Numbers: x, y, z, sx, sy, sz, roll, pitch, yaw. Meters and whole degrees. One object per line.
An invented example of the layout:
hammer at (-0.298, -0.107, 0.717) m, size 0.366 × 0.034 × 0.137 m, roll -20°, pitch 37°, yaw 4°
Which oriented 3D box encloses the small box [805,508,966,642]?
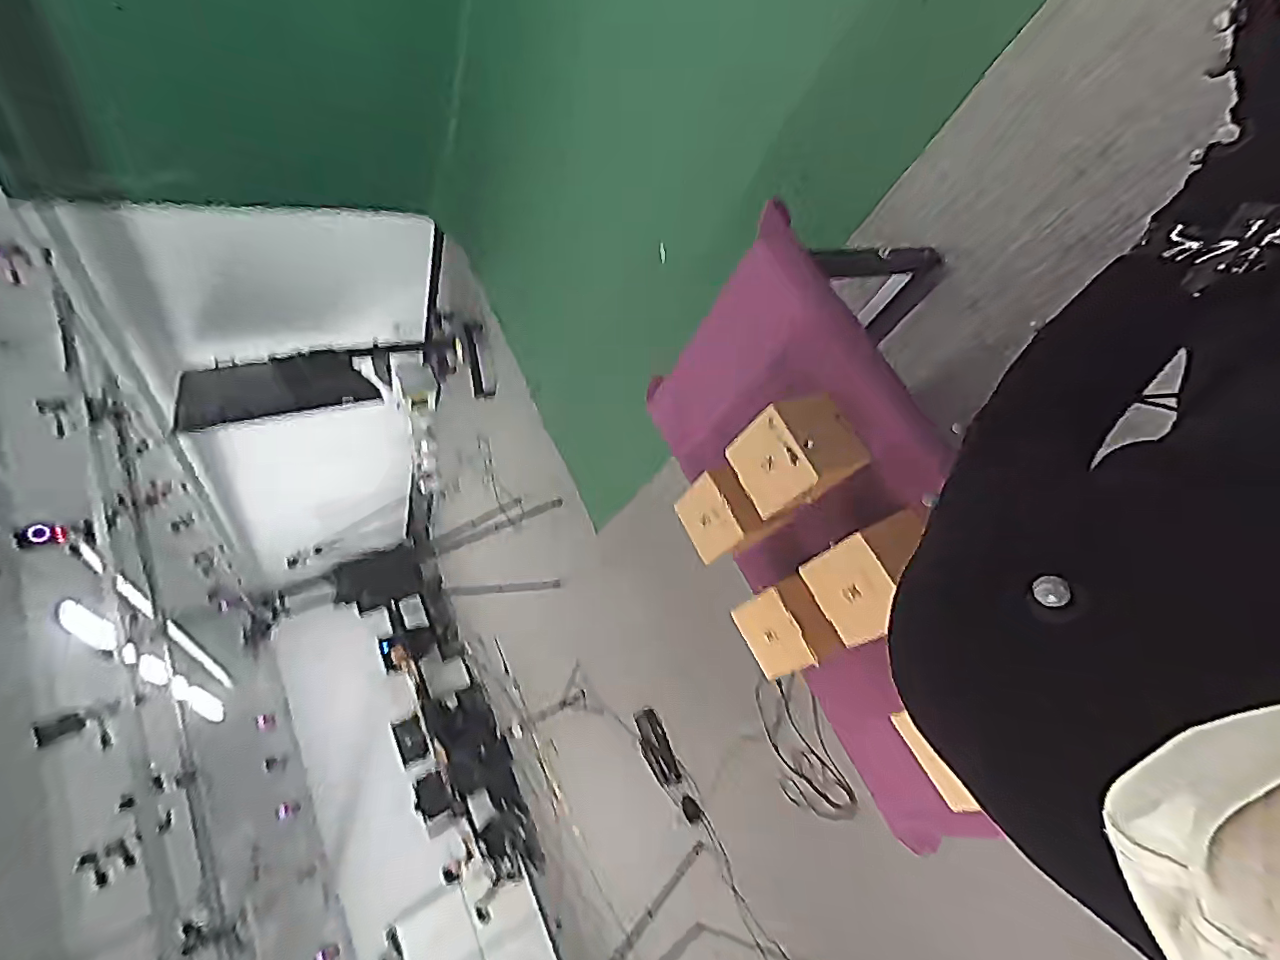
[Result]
small box at (0.454, 0.176, 1.007) m, size 0.168 × 0.176 × 0.179 m, roll 61°, pitch 145°, yaw 18°

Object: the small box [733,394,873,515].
small box at (0.328, -0.053, 1.097) m, size 0.168 × 0.176 × 0.179 m, roll 62°, pitch 147°, yaw 17°

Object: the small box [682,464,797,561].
small box at (0.236, 0.070, 1.292) m, size 0.168 × 0.176 × 0.179 m, roll 62°, pitch 145°, yaw 17°
